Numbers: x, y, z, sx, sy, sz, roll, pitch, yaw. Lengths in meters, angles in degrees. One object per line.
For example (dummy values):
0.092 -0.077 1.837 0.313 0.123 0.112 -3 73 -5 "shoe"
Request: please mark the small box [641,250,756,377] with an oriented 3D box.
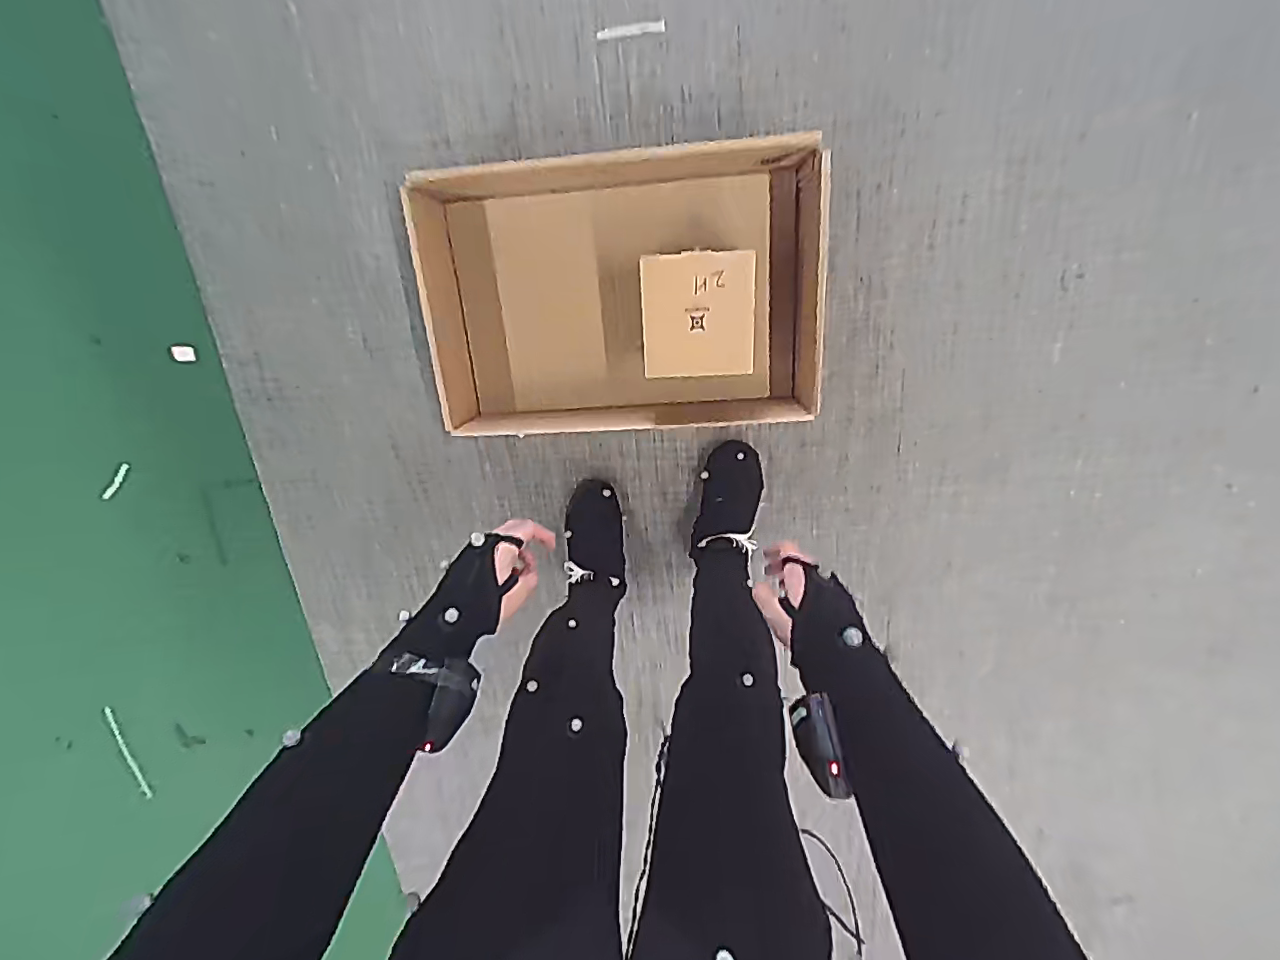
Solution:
0.092 -0.267 0.865 0.168 0.176 0.179 -1 109 5 "small box"
